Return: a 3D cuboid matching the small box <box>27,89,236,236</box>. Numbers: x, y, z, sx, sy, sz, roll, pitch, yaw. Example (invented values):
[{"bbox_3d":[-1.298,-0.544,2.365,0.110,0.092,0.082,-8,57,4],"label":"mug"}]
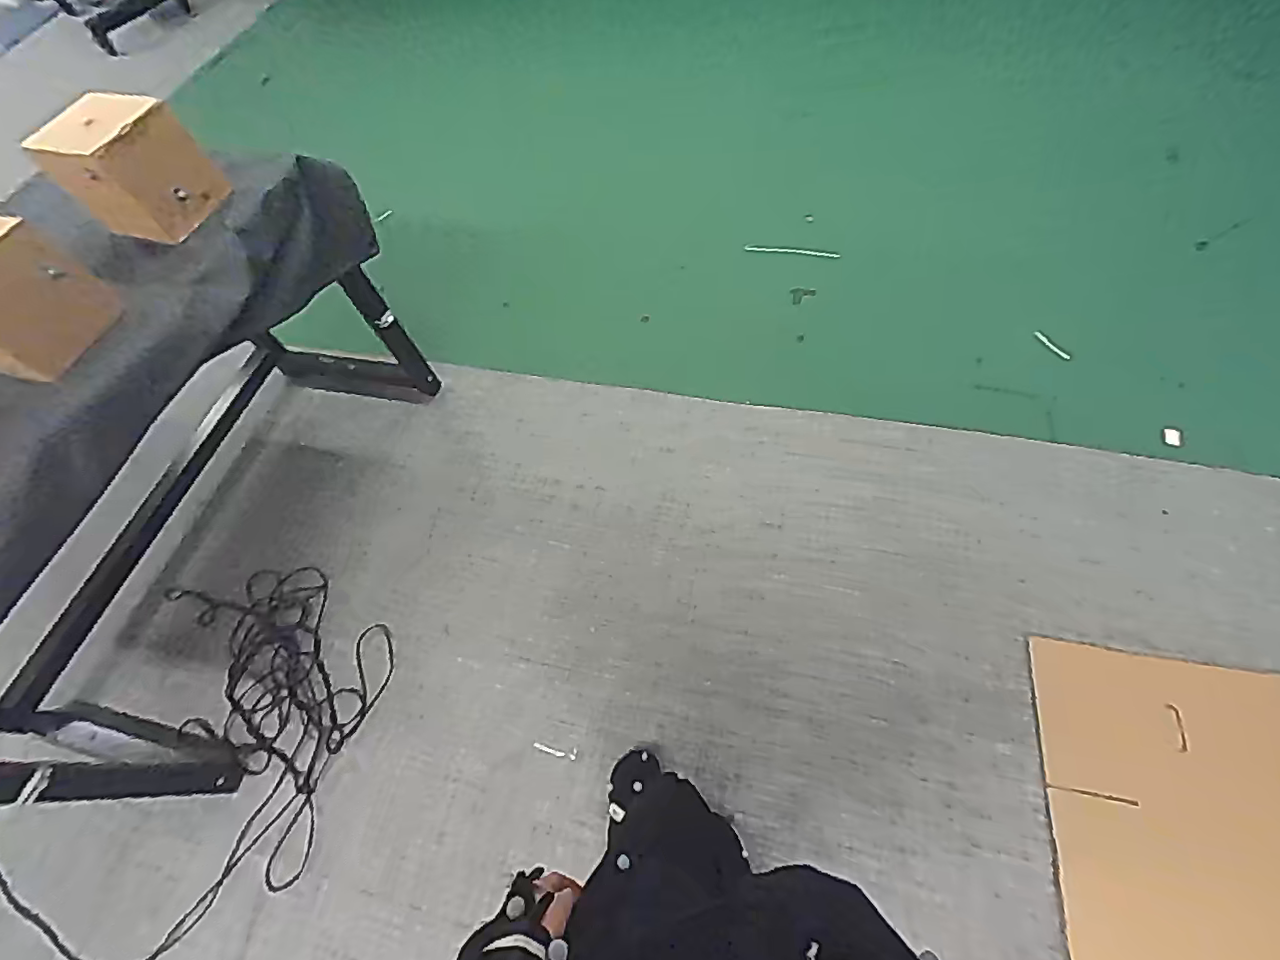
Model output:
[{"bbox_3d":[-0.900,-0.568,0.976,0.179,0.176,0.168,13,65,14],"label":"small box"}]
